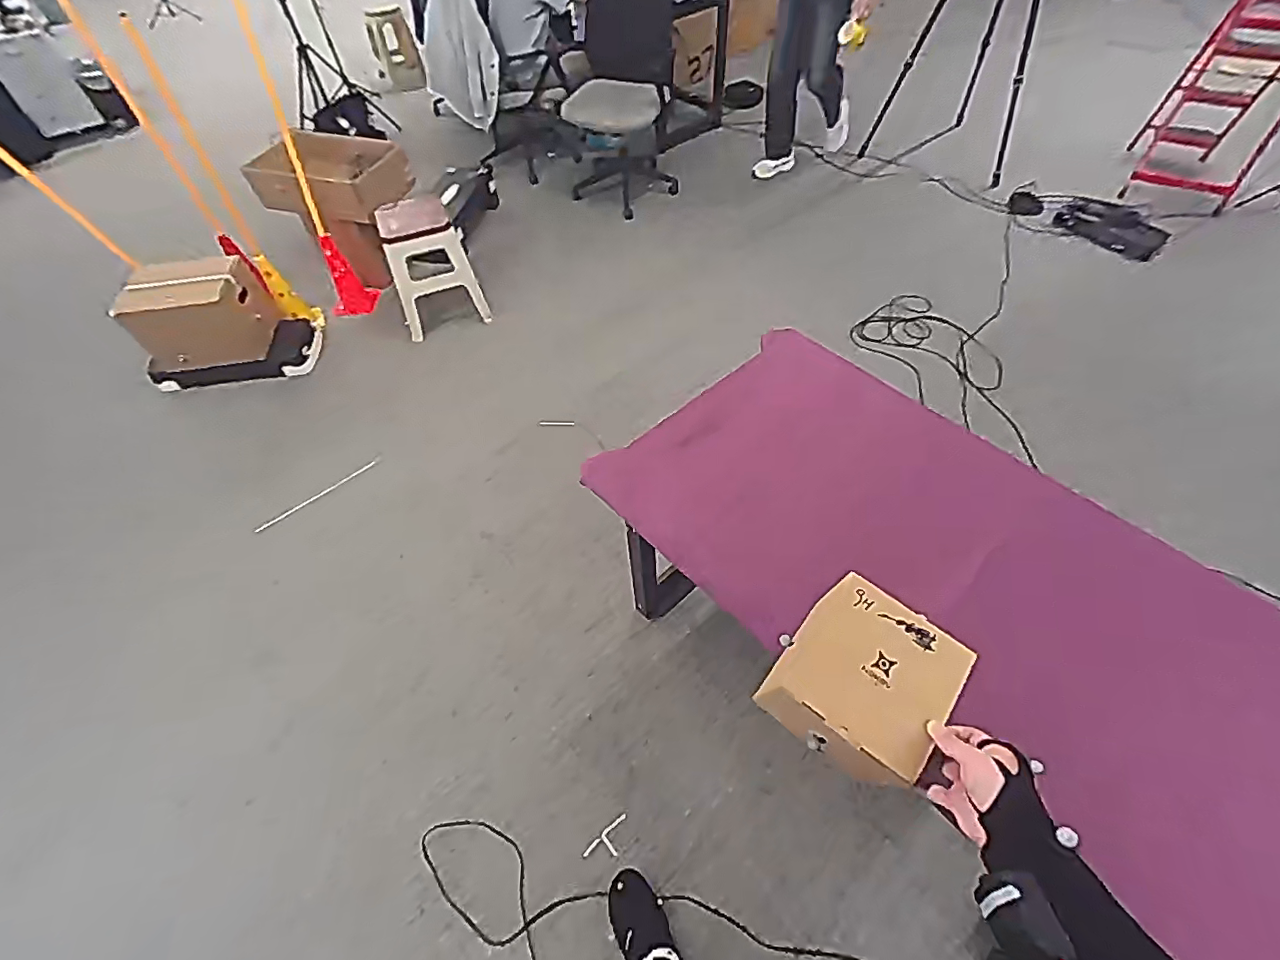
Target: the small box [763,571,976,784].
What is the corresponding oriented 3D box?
[{"bbox_3d":[0.274,0.253,0.687,0.168,0.176,0.179,36,69,18],"label":"small box"}]
